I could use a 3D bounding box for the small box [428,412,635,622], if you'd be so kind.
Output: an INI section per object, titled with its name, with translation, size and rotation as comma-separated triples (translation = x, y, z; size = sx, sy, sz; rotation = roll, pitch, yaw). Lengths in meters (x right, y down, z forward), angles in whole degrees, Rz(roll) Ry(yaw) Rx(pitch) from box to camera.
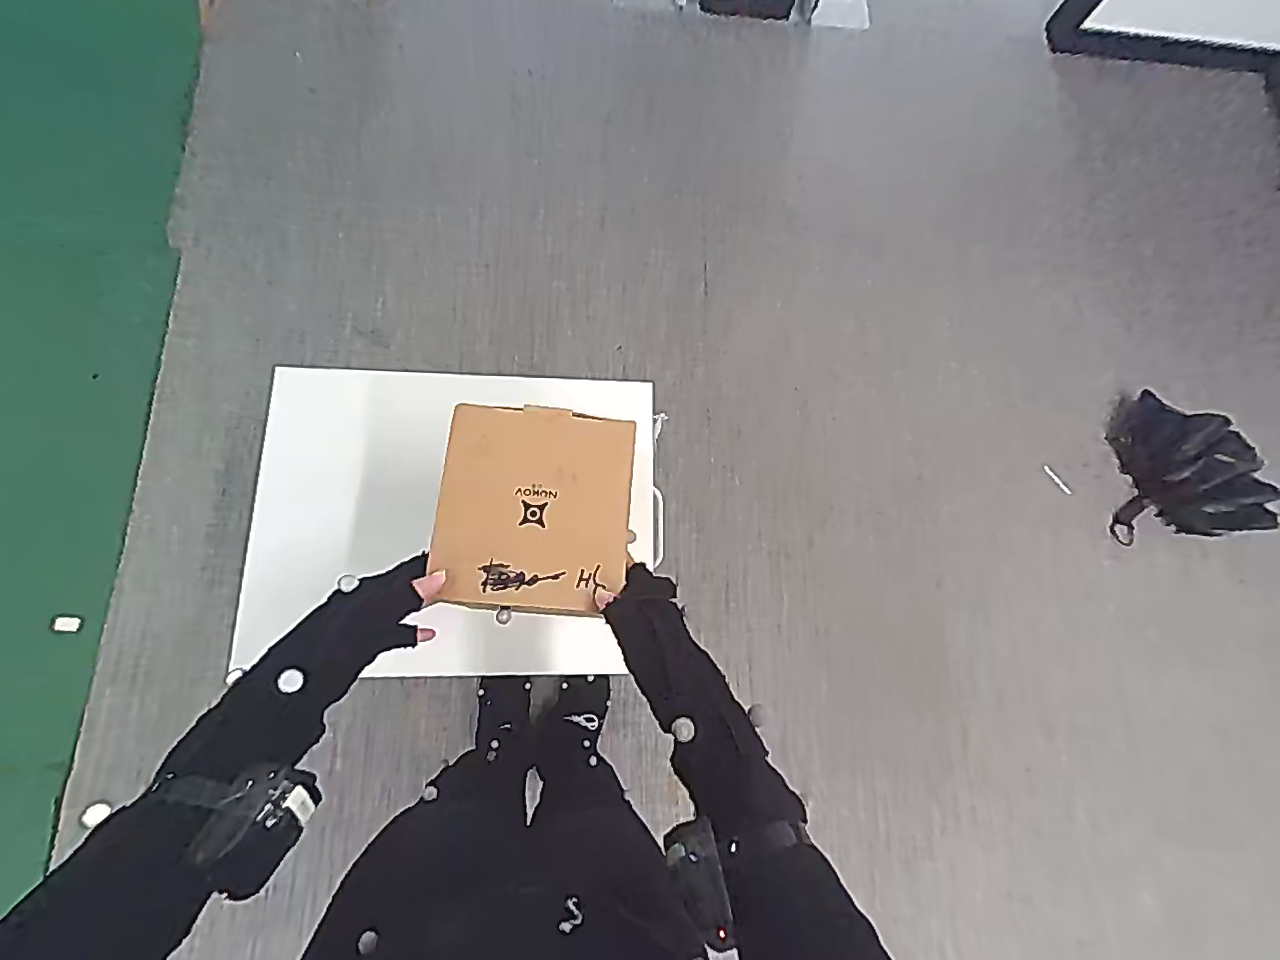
[small box]
translation = -0.098, 0.049, 0.554
size = 0.168, 0.176, 0.179
rotation = 4, 74, -4
